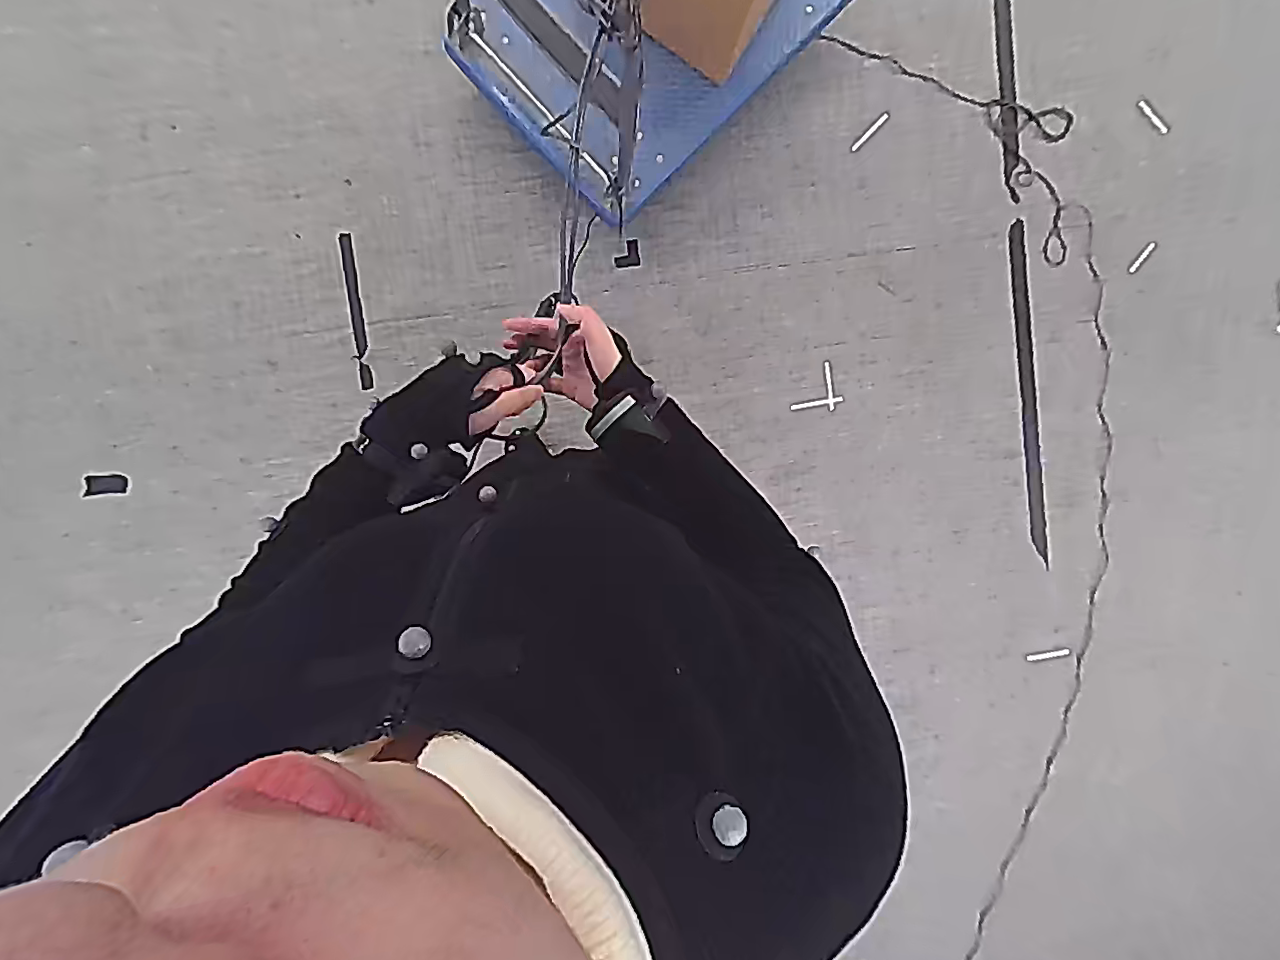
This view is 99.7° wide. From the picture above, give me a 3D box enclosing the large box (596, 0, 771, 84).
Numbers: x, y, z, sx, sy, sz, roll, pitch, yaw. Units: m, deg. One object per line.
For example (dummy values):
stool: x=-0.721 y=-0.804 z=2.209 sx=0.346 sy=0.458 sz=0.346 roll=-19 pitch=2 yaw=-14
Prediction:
large box: x=0.108 y=-1.139 z=1.096 sx=0.408 sy=0.320 sz=0.320 roll=31 pitch=92 yaw=-7
